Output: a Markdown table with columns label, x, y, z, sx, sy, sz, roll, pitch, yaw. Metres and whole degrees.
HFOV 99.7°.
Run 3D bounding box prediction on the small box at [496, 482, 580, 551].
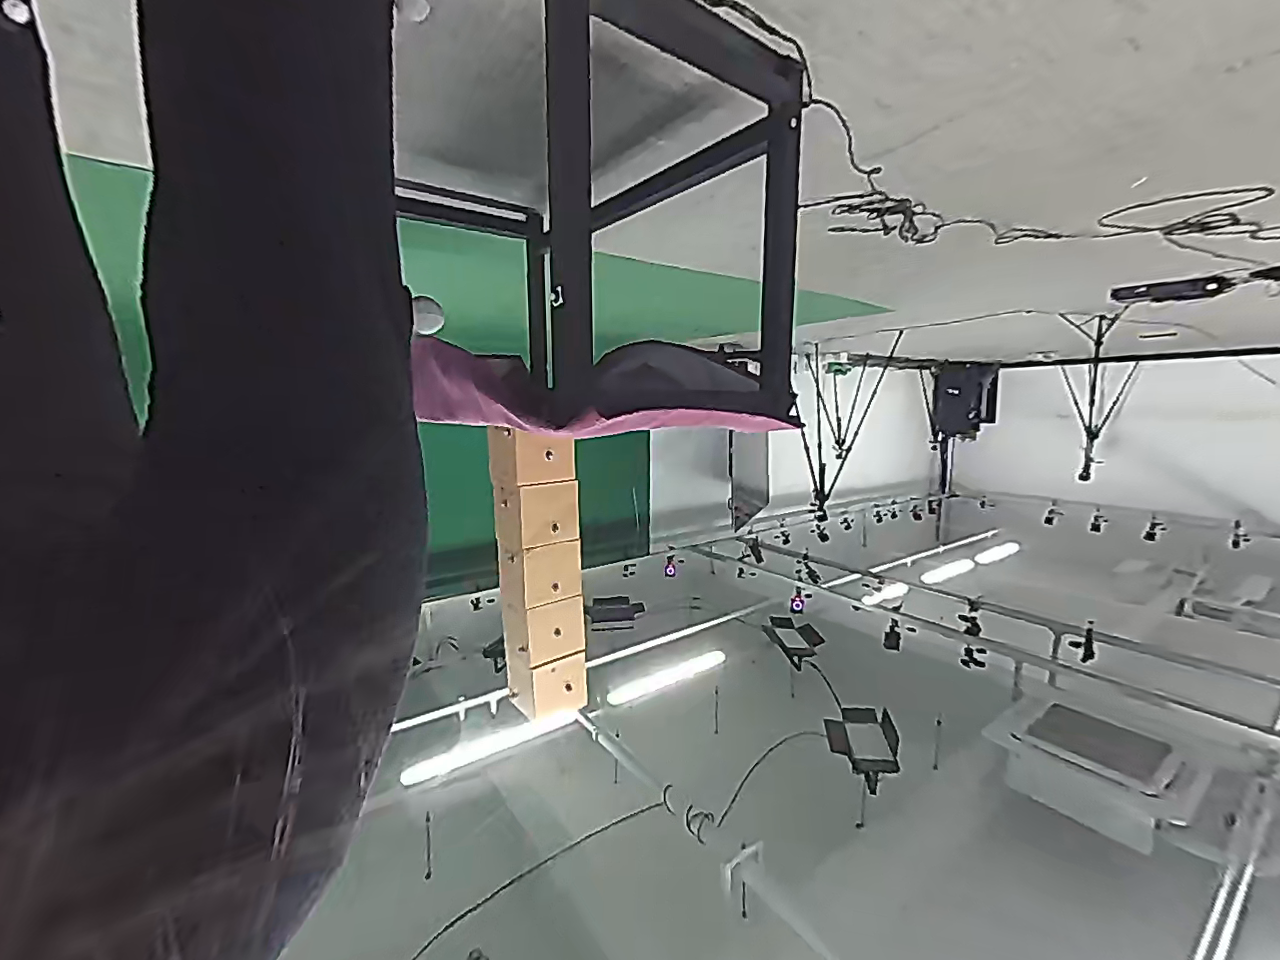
| label | x | y | z | sx | sy | sz | roll | pitch | yaw |
| --- | --- | --- | --- | --- | --- | --- | --- | --- | --- |
| small box | -0.282 | 0.084 | 1.485 | 0.179 | 0.176 | 0.168 | -6 | -171 | -38 |

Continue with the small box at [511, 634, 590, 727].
| label | x | y | z | sx | sy | sz | roll | pitch | yaw |
| --- | --- | --- | --- | --- | --- | --- | --- | --- | --- |
| small box | -0.262 | 0.568 | 1.555 | 0.168 | 0.176 | 0.179 | -8 | -169 | -37 |

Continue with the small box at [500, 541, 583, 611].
| label | x | y | z | sx | sy | sz | roll | pitch | yaw |
| --- | --- | --- | --- | --- | --- | --- | --- | --- | --- |
| small box | -0.276 | 0.245 | 1.510 | 0.179 | 0.176 | 0.168 | -7 | -171 | -38 |

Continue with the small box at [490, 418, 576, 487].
| label | x | y | z | sx | sy | sz | roll | pitch | yaw |
| --- | --- | --- | --- | --- | --- | --- | --- | --- | --- |
| small box | -0.292 | -0.078 | 1.459 | 0.179 | 0.176 | 0.168 | -8 | -170 | -38 |
